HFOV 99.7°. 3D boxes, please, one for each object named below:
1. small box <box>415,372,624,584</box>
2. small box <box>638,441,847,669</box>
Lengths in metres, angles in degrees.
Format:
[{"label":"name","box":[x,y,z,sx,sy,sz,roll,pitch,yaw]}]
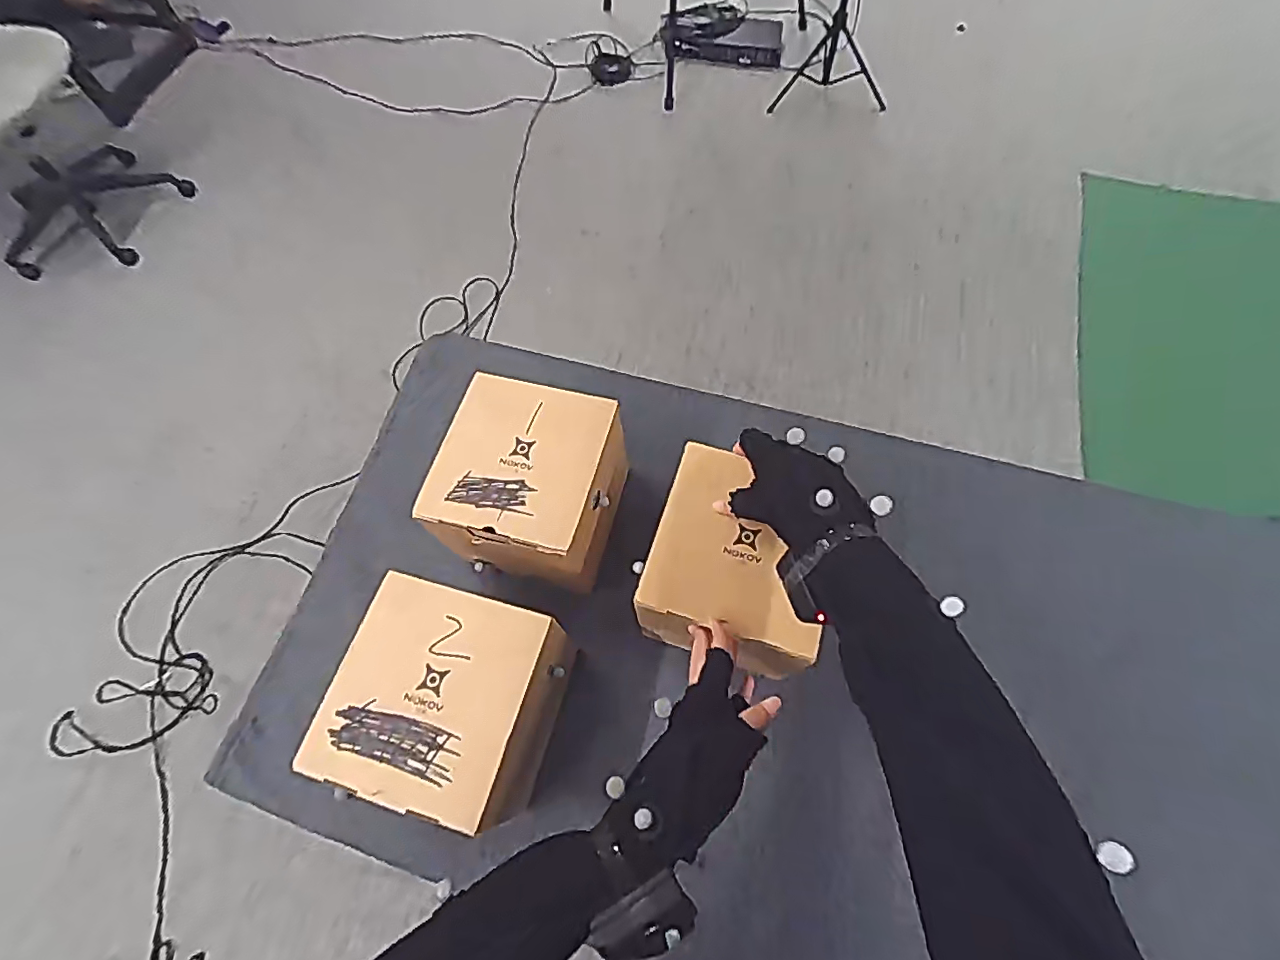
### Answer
[{"label":"small box","box":[-0.120,0.007,0.625,0.168,0.176,0.179,13,67,8]},{"label":"small box","box":[0.102,0.088,0.580,0.168,0.176,0.179,16,69,9]}]
